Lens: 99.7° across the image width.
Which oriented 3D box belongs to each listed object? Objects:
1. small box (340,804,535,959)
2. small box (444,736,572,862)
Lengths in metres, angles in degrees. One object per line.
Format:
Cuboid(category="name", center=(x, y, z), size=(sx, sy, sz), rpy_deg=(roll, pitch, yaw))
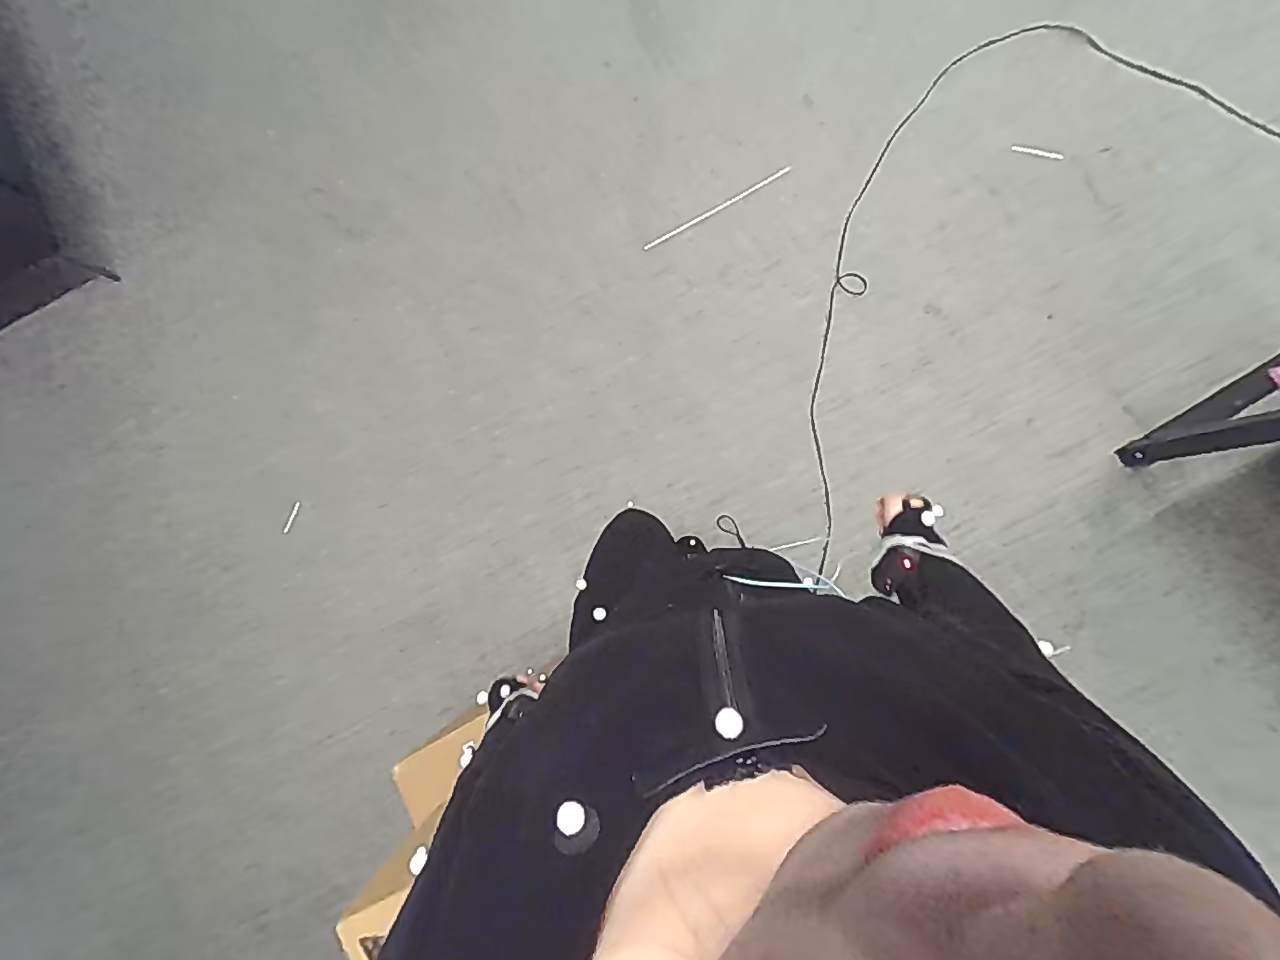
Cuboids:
Cuboid(category="small box", center=(-0.274, 0.611, 0.771), size=(0.179, 0.176, 0.168), rpy_deg=(-28, 85, 0))
Cuboid(category="small box", center=(-0.259, 0.650, 1.098), size=(0.168, 0.176, 0.179), rpy_deg=(-31, 85, 1))
